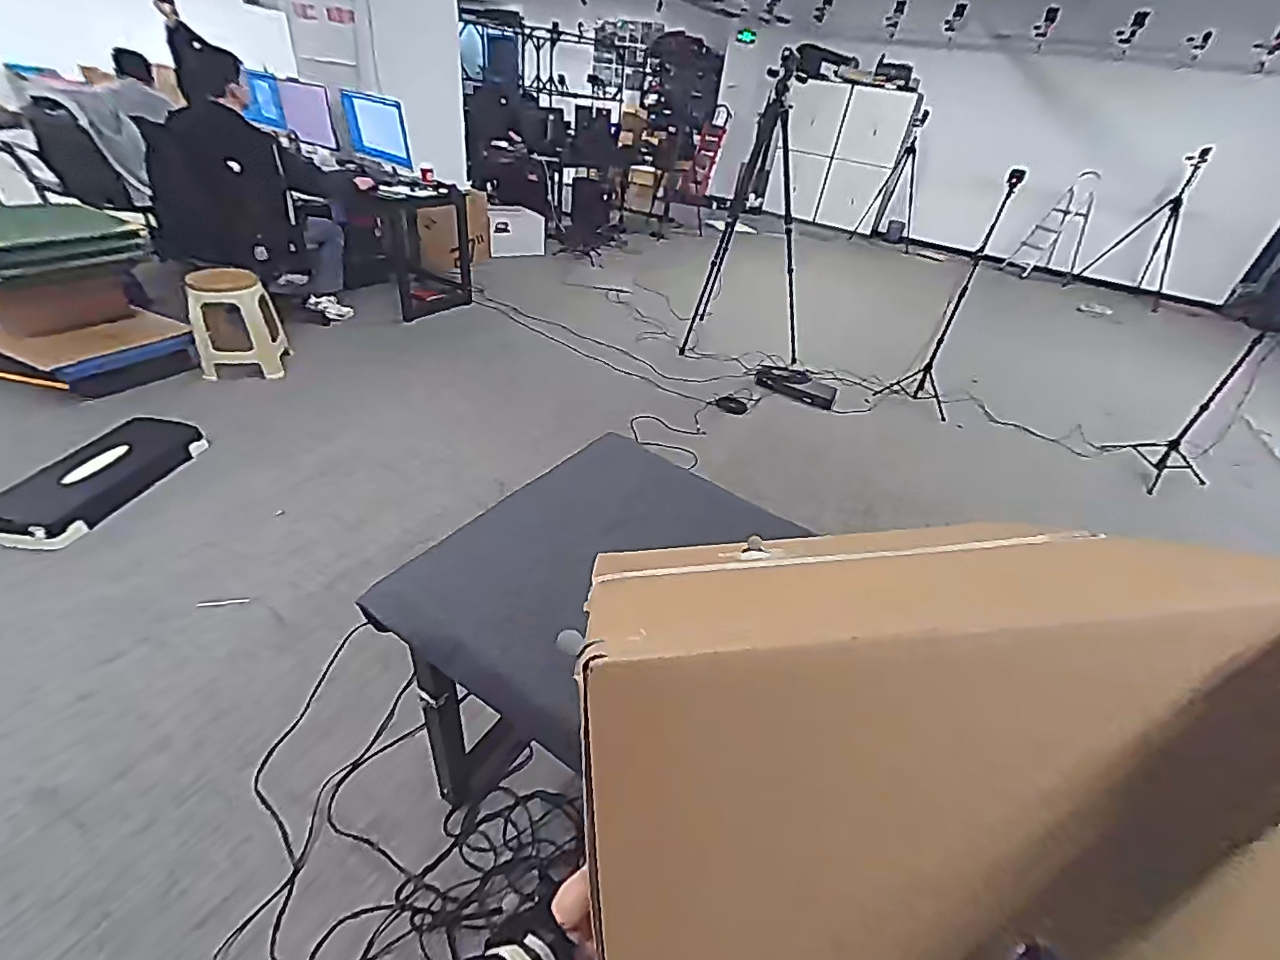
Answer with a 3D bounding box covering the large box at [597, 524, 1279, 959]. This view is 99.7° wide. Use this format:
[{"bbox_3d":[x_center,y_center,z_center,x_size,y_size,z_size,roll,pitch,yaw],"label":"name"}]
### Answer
[{"bbox_3d":[0.182,0.222,0.421,0.408,0.320,0.320,-6,1,-4],"label":"large box"}]
